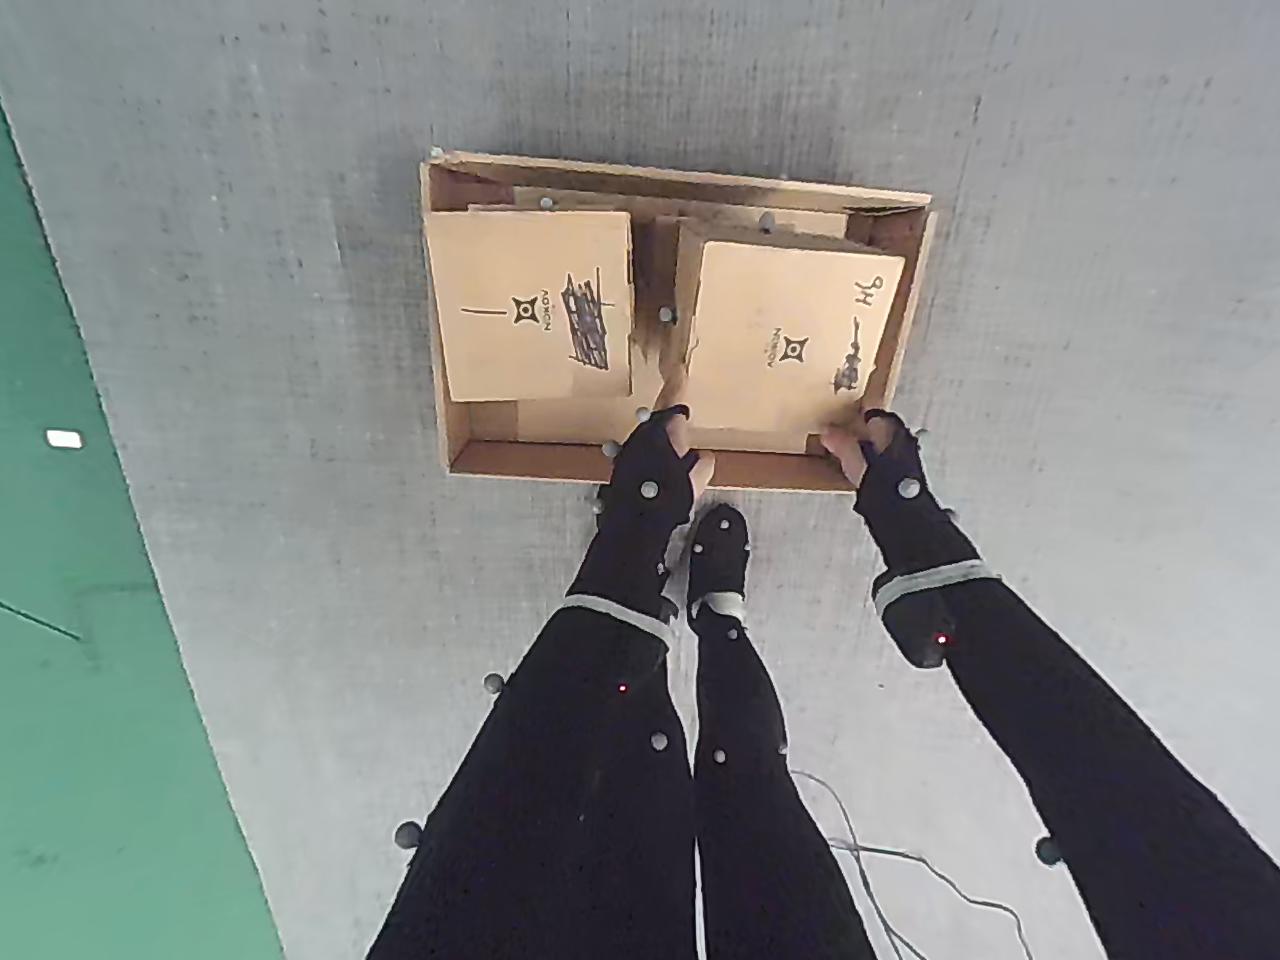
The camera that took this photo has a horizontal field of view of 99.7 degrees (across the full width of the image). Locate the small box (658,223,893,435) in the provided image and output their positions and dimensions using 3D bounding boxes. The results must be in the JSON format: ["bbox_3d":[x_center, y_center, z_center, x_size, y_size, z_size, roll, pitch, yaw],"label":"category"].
[{"bbox_3d":[0.114,-0.159,0.547,0.179,0.176,0.168,2,121,-5],"label":"small box"}]

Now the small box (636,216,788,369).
[{"bbox_3d":[0.083,-0.246,0.725,0.168,0.176,0.179,3,112,-3],"label":"small box"}]

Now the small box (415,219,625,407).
[{"bbox_3d":[-0.109,-0.179,0.564,0.179,0.176,0.168,-2,113,-3],"label":"small box"}]
